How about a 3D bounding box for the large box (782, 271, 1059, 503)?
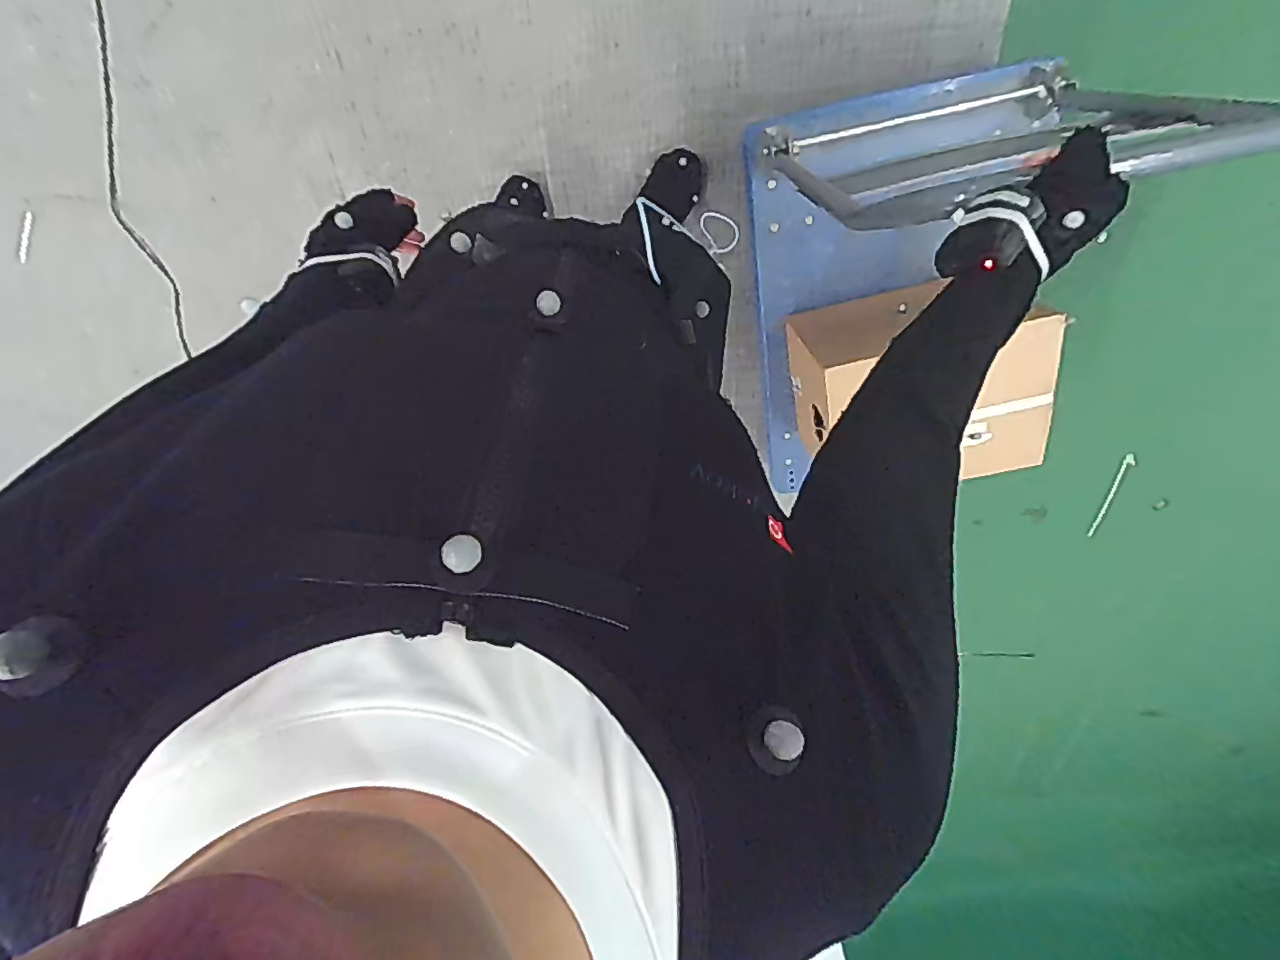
[{"bbox_3d":[0.550,-0.201,1.135,0.408,0.320,0.320,-14,124,8],"label":"large box"}]
